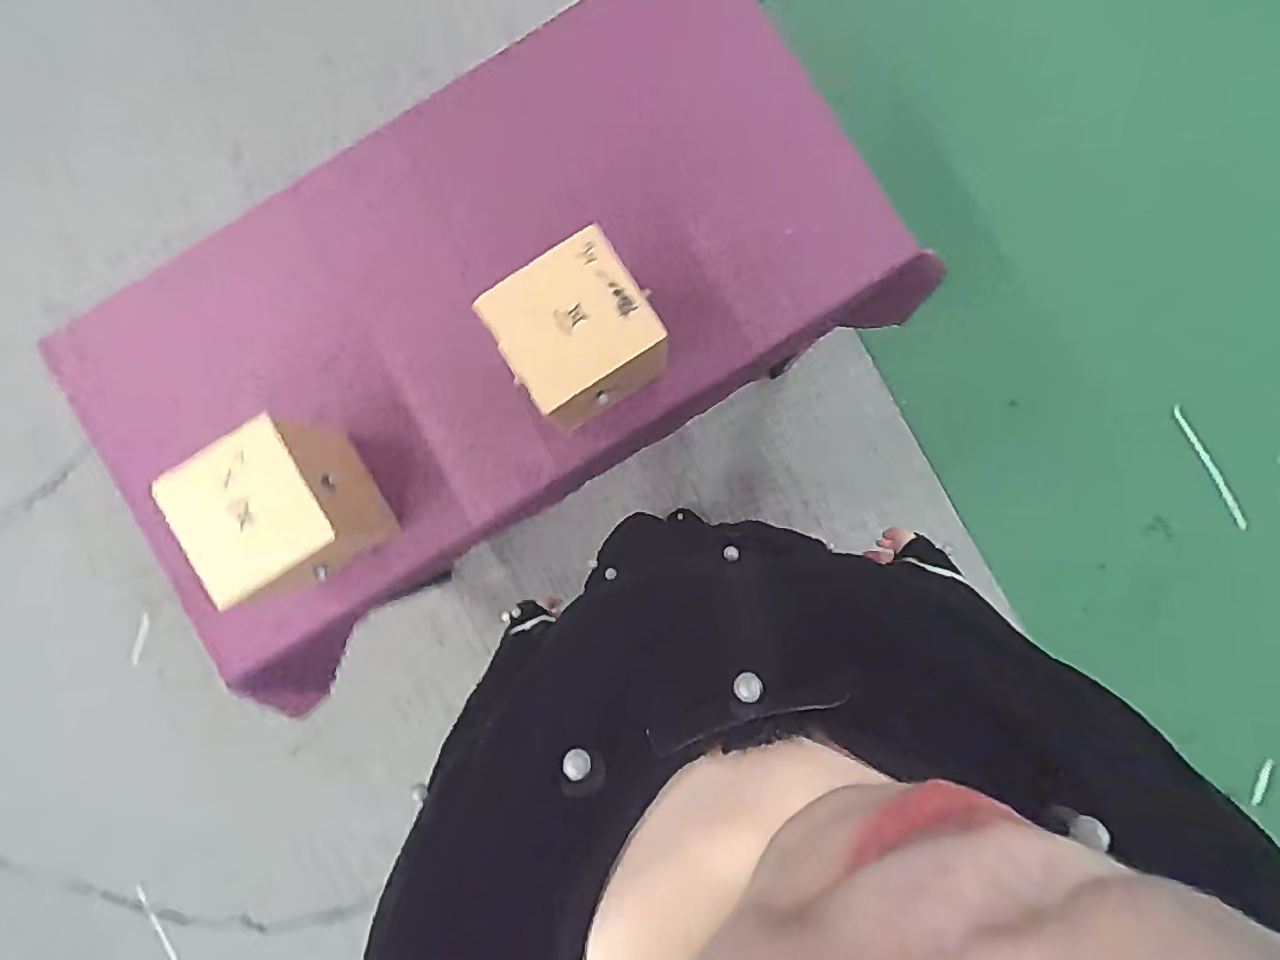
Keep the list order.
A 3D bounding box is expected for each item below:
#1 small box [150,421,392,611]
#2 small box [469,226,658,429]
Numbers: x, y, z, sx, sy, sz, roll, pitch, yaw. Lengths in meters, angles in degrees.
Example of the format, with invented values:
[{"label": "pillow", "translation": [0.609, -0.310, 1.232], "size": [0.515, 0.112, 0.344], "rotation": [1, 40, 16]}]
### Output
[{"label": "small box", "translation": [-0.470, 0.045, 0.720], "size": [0.168, 0.176, 0.179], "rotation": [-32, 86, 0]}, {"label": "small box", "translation": [-0.086, -0.185, 0.717], "size": [0.179, 0.176, 0.168], "rotation": [-33, 87, 1]}]
